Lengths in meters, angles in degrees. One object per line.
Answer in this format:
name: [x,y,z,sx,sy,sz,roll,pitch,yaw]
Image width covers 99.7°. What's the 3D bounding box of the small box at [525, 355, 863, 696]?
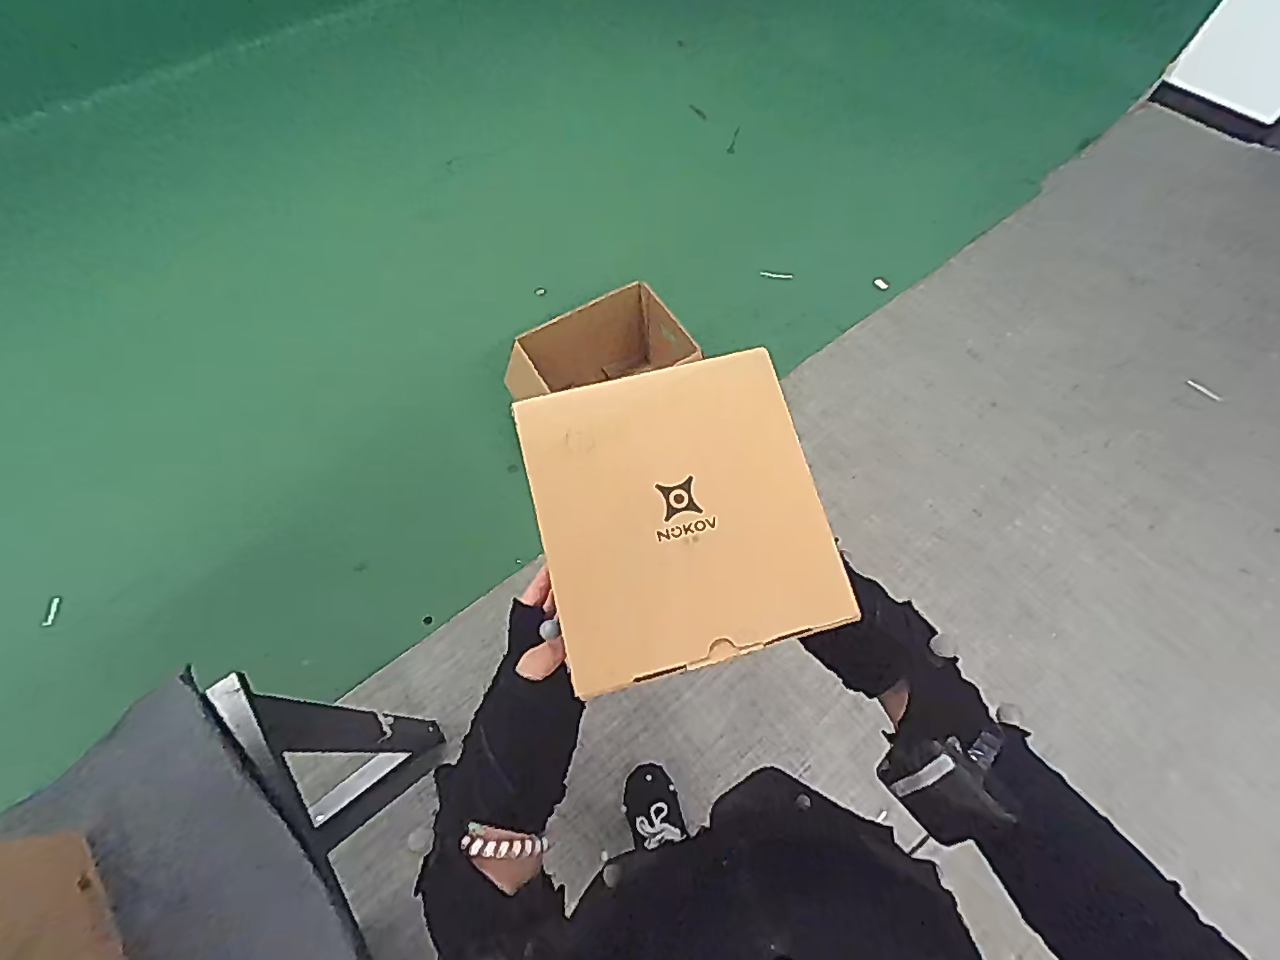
small box: [0.022,0.038,0.392,0.168,0.176,0.179,-14,77,-8]
